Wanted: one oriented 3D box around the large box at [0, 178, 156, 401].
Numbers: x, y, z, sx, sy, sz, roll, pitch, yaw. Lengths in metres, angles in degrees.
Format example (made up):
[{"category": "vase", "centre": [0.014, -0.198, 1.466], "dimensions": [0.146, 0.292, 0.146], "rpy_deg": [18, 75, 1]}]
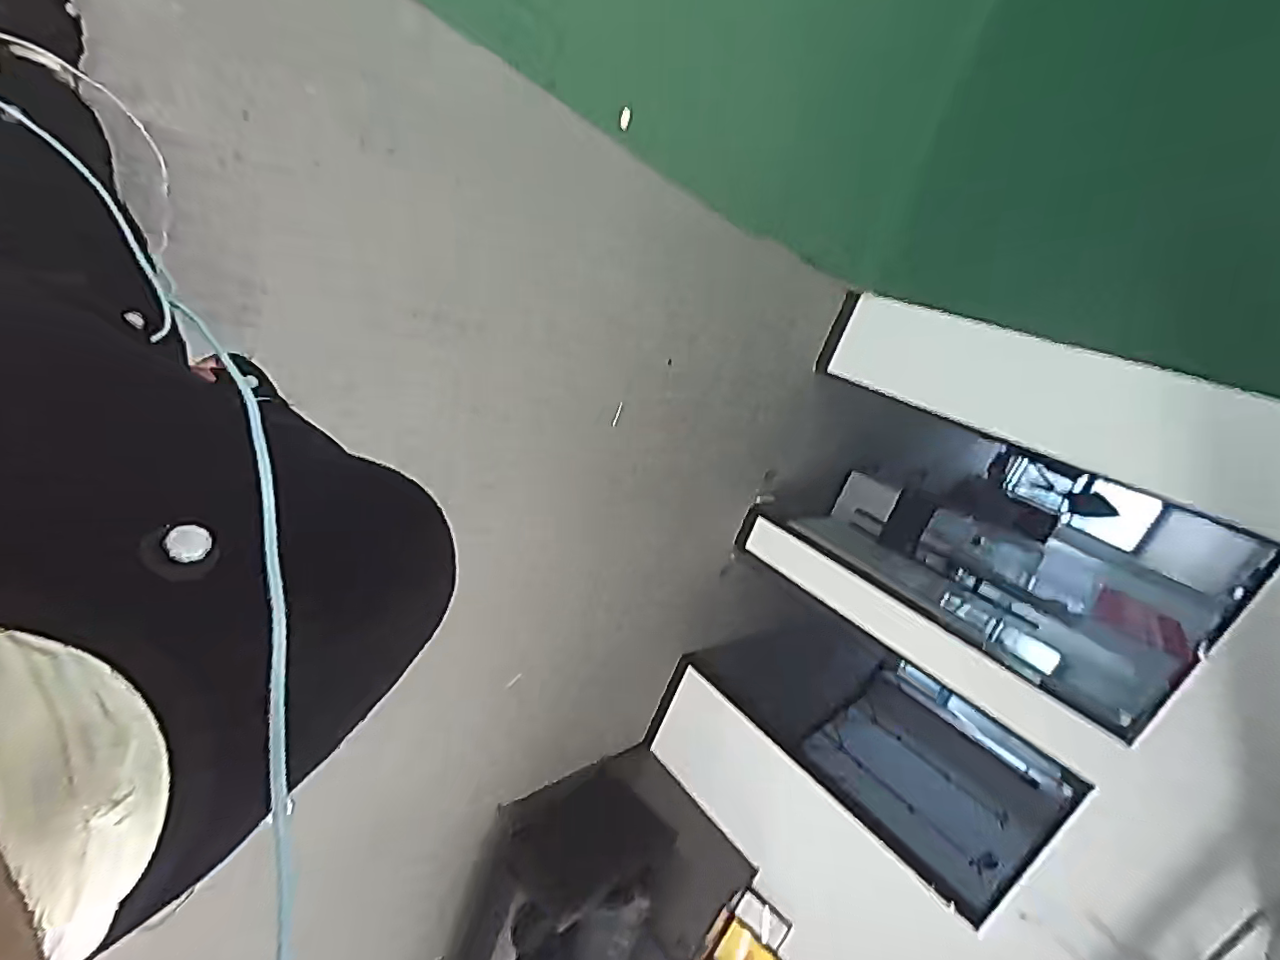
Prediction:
[{"category": "large box", "centre": [-1.112, -0.345, 0.917], "dimensions": [0.408, 0.320, 0.320], "rpy_deg": [-1, 117, -47]}]
